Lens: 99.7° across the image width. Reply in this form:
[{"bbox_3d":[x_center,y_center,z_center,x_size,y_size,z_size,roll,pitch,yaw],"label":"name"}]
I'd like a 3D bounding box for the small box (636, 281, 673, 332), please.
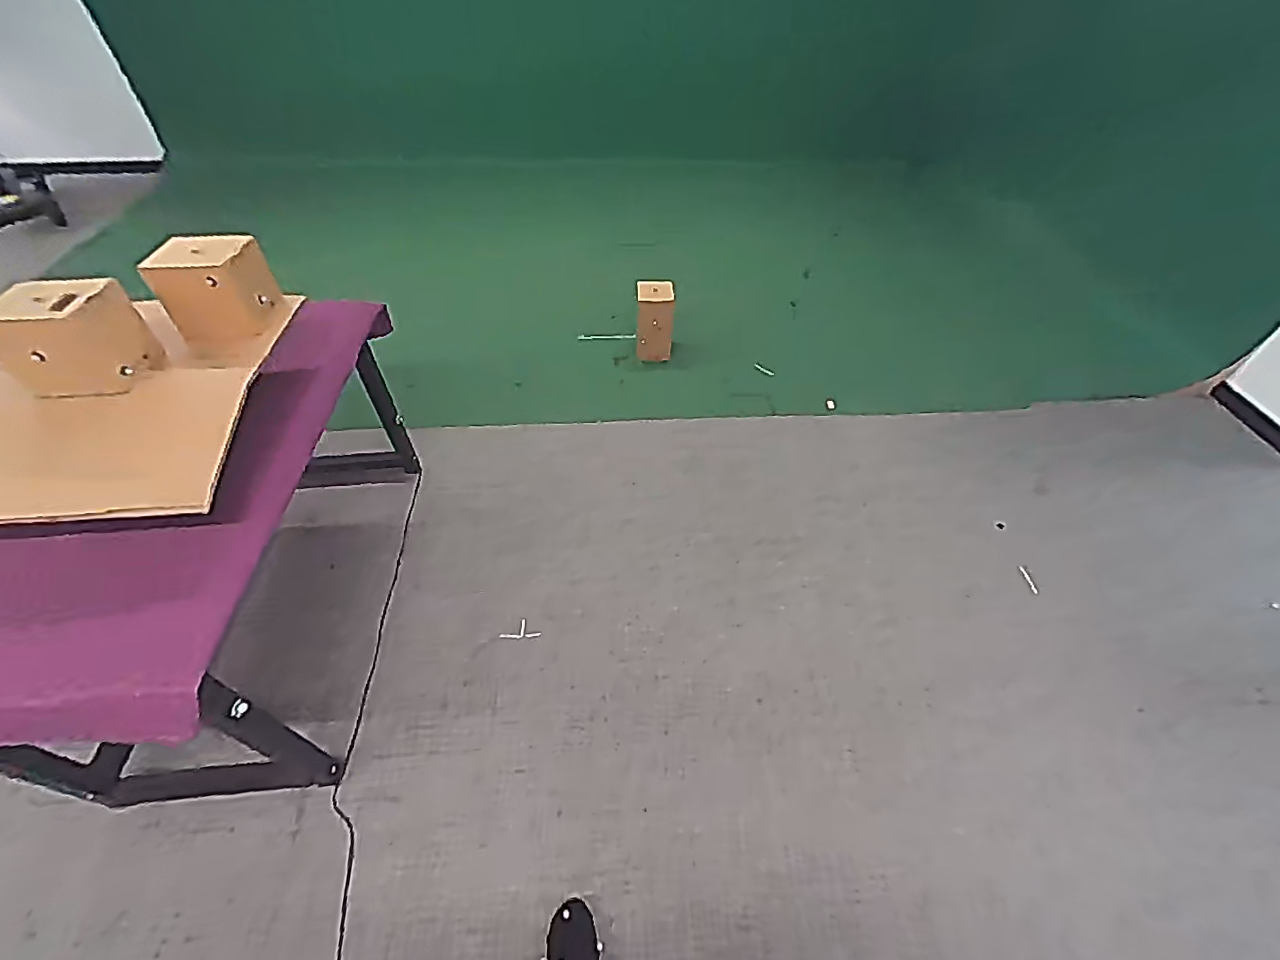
[{"bbox_3d":[0.067,-0.823,2.562,0.168,0.176,0.179,-1,48,-1],"label":"small box"}]

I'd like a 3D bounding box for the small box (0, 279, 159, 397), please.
[{"bbox_3d":[-1.132,-0.282,1.081,0.179,0.176,0.168,-5,46,-5],"label":"small box"}]

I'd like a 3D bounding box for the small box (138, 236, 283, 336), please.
[{"bbox_3d":[-0.974,-0.444,1.245,0.179,0.176,0.168,-4,46,-6],"label":"small box"}]
